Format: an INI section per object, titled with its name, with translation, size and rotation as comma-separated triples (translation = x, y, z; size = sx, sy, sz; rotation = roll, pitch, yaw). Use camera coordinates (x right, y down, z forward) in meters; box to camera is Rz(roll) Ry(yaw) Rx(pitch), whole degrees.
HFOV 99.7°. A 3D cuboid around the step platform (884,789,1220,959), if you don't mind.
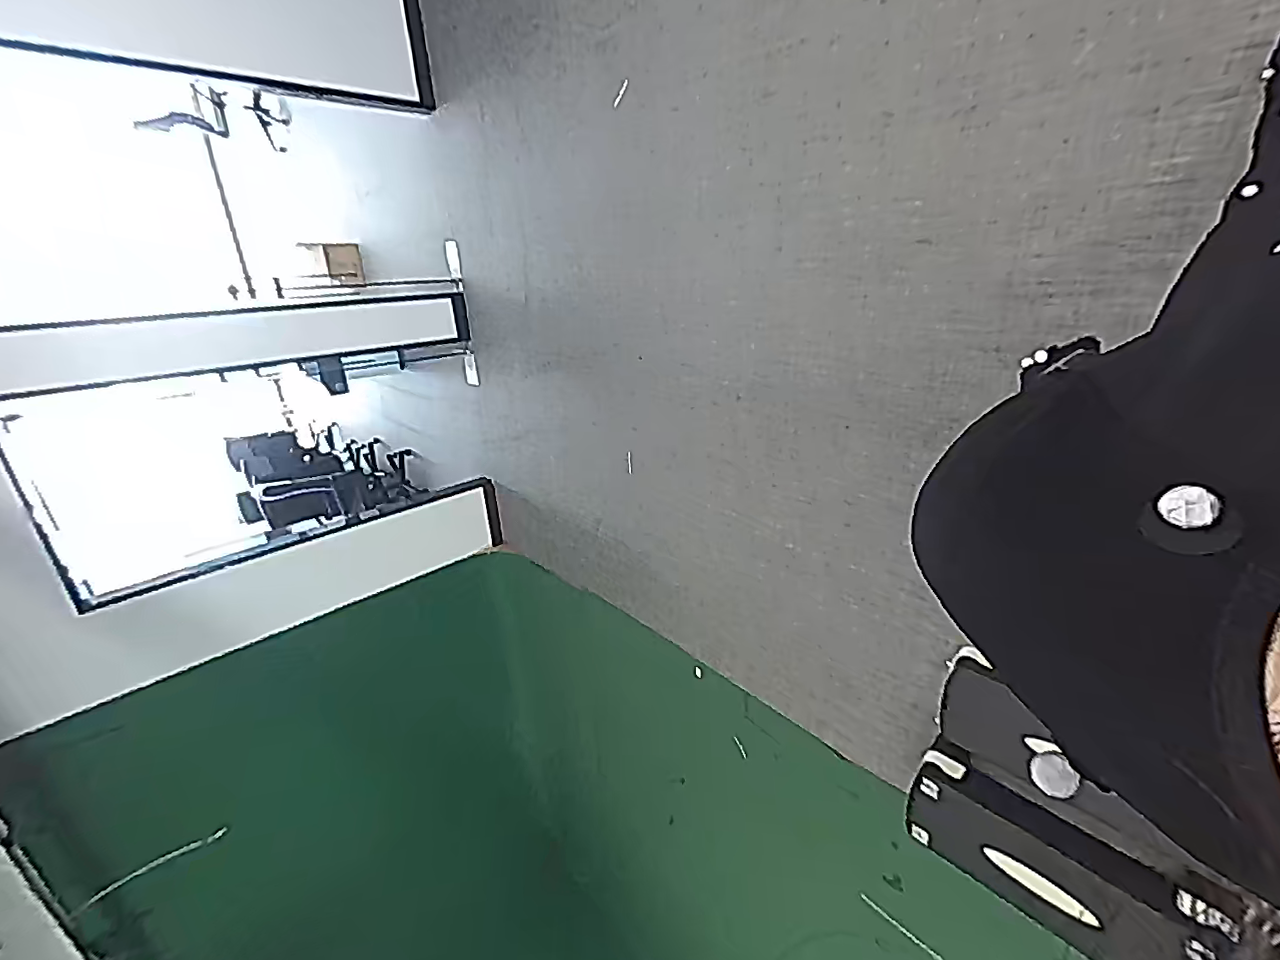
[step platform]
translation = 0.977, 1.094, 1.314
size = 0.684, 0.204, 0.286
rotation = 19, 120, 43
